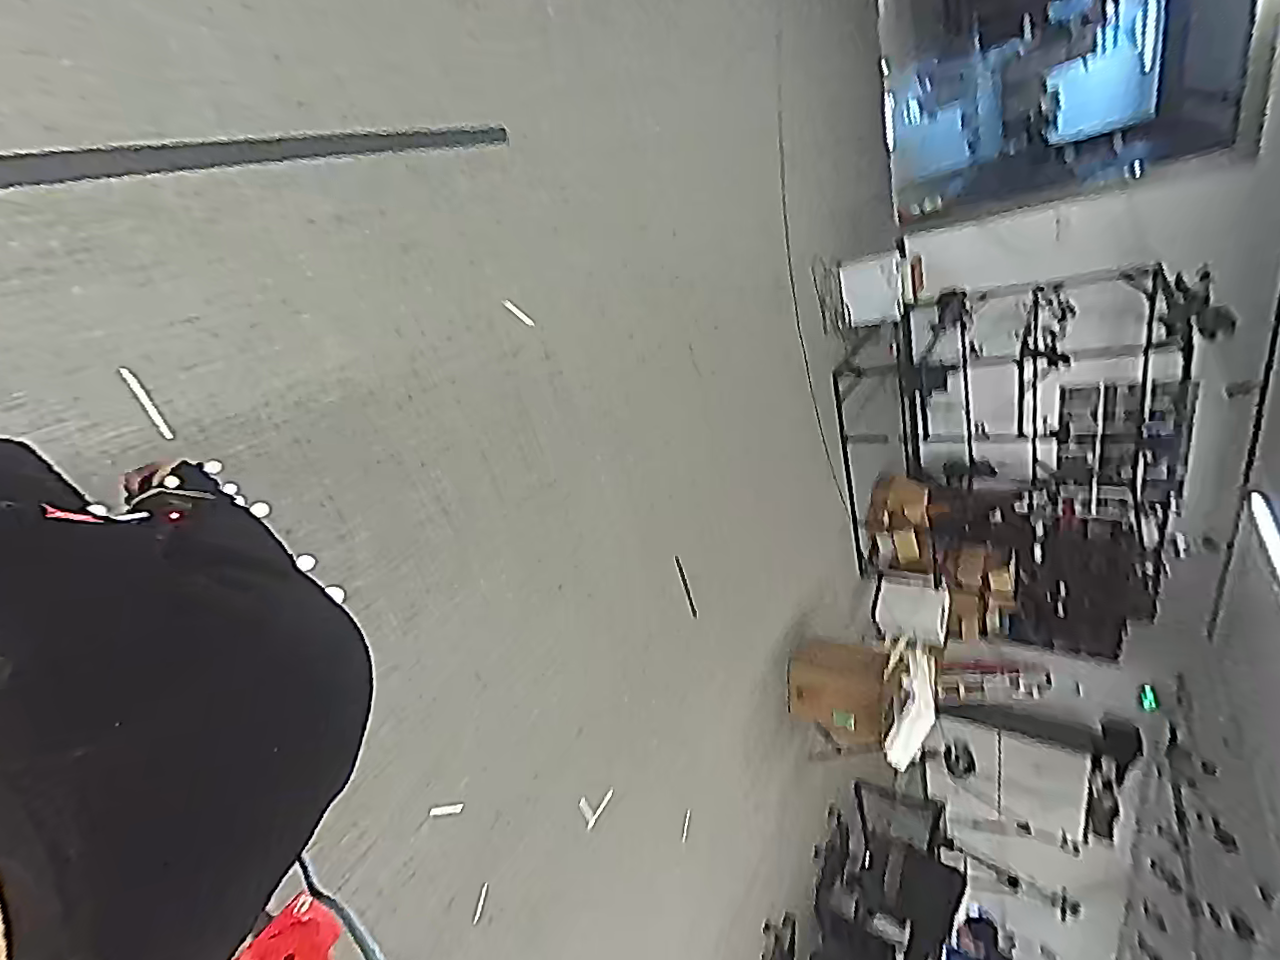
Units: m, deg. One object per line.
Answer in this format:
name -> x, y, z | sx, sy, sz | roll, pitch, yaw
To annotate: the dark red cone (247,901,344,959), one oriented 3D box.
dark red cone -> -0.708, 1.153, 1.187 | 0.201, 0.394, 0.202 | -41, 124, -42
